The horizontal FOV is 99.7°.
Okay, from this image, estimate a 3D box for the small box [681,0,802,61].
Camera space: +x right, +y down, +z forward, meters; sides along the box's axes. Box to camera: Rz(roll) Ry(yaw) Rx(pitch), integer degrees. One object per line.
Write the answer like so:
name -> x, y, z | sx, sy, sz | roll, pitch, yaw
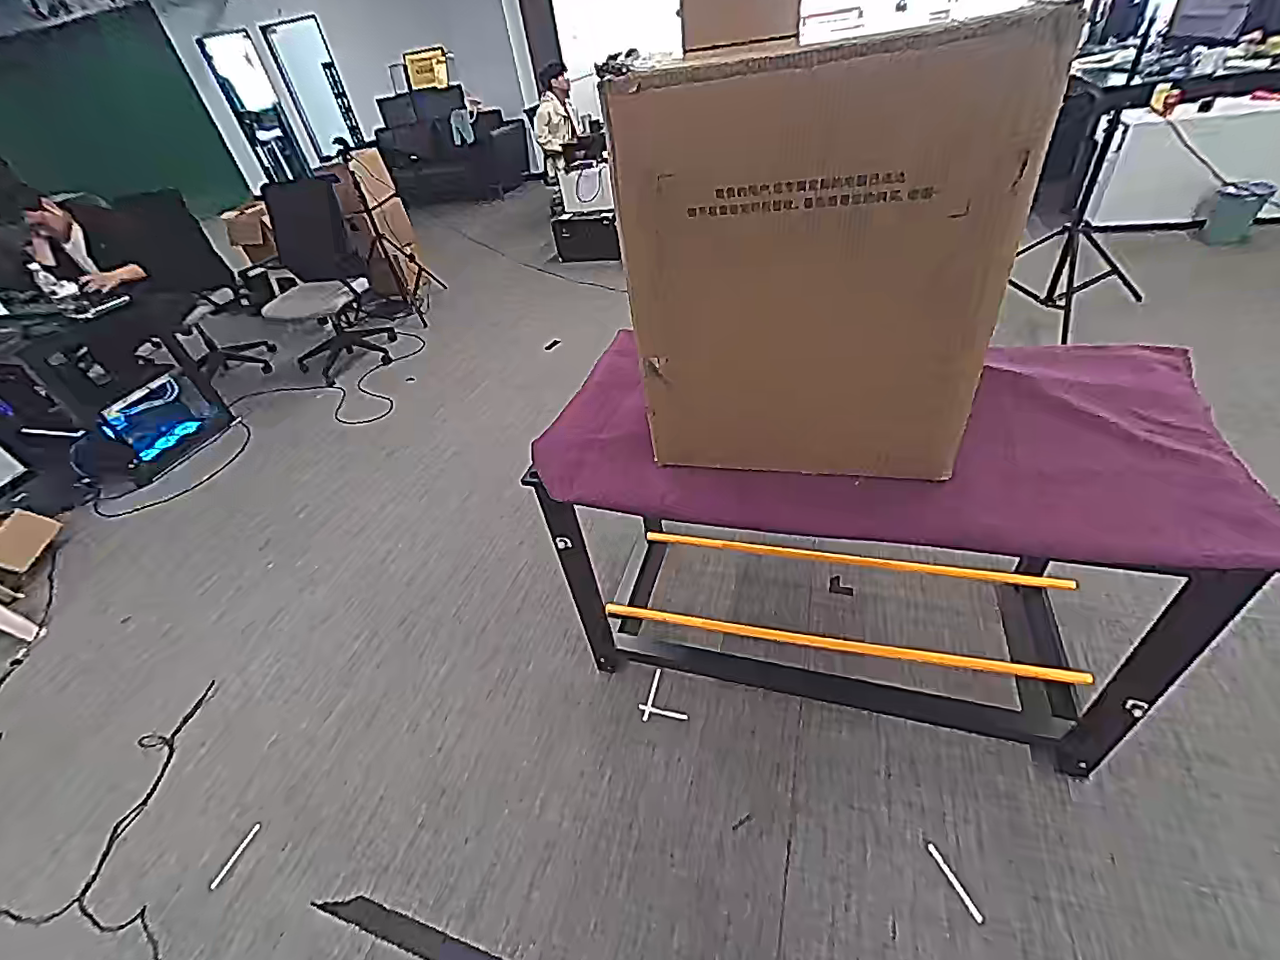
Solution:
small box -> 0.145, -0.722, 0.772 | 0.168, 0.176, 0.179 | 2, 42, 12
